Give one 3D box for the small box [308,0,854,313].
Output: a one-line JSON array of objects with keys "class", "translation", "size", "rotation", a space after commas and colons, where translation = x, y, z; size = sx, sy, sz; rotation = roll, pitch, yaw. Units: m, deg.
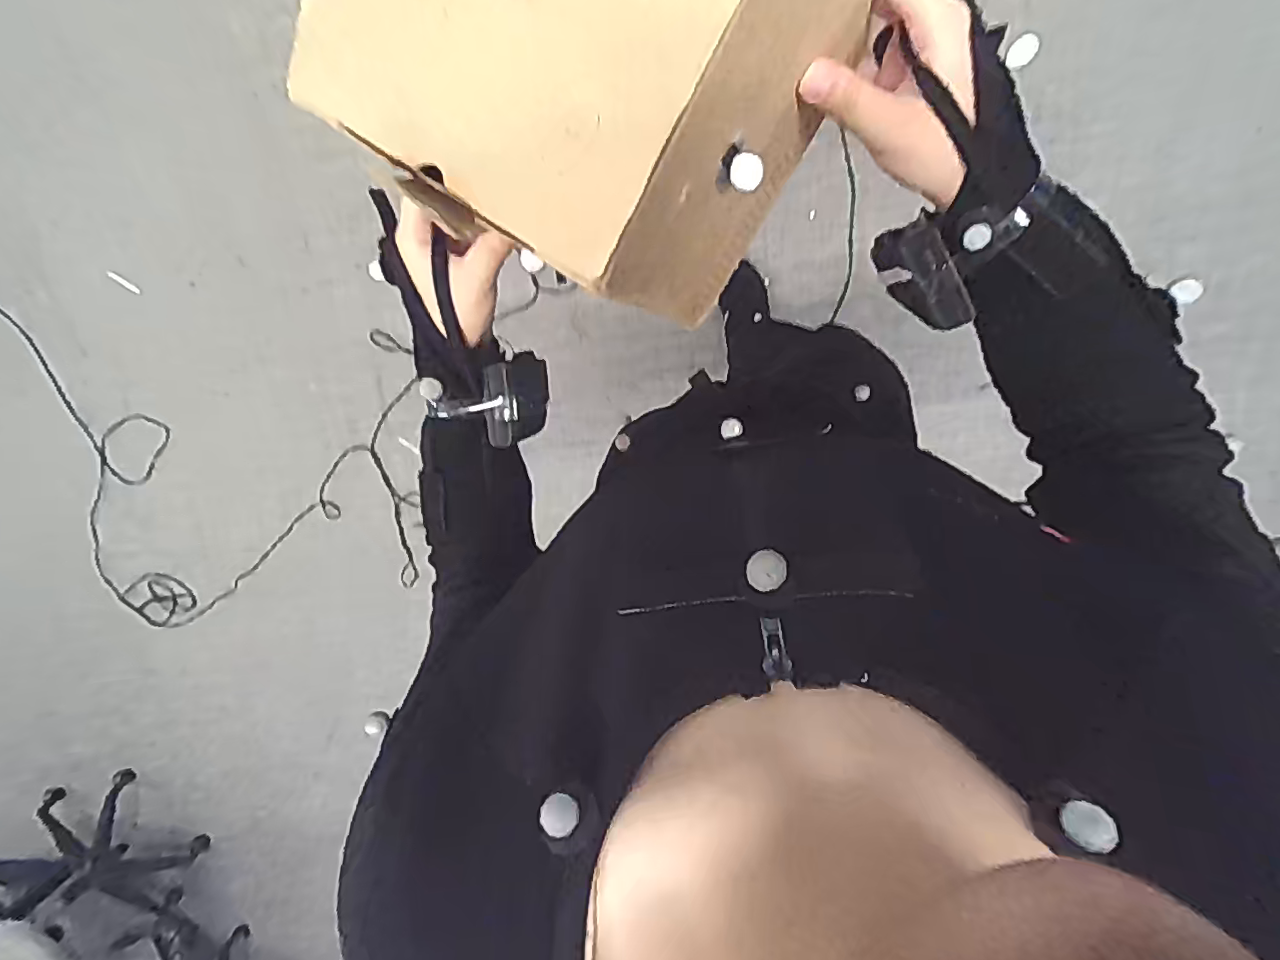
[{"class": "small box", "translation": [-0.011, -0.201, 0.264], "size": [0.168, 0.176, 0.179], "rotation": [35, 110, 10]}]
